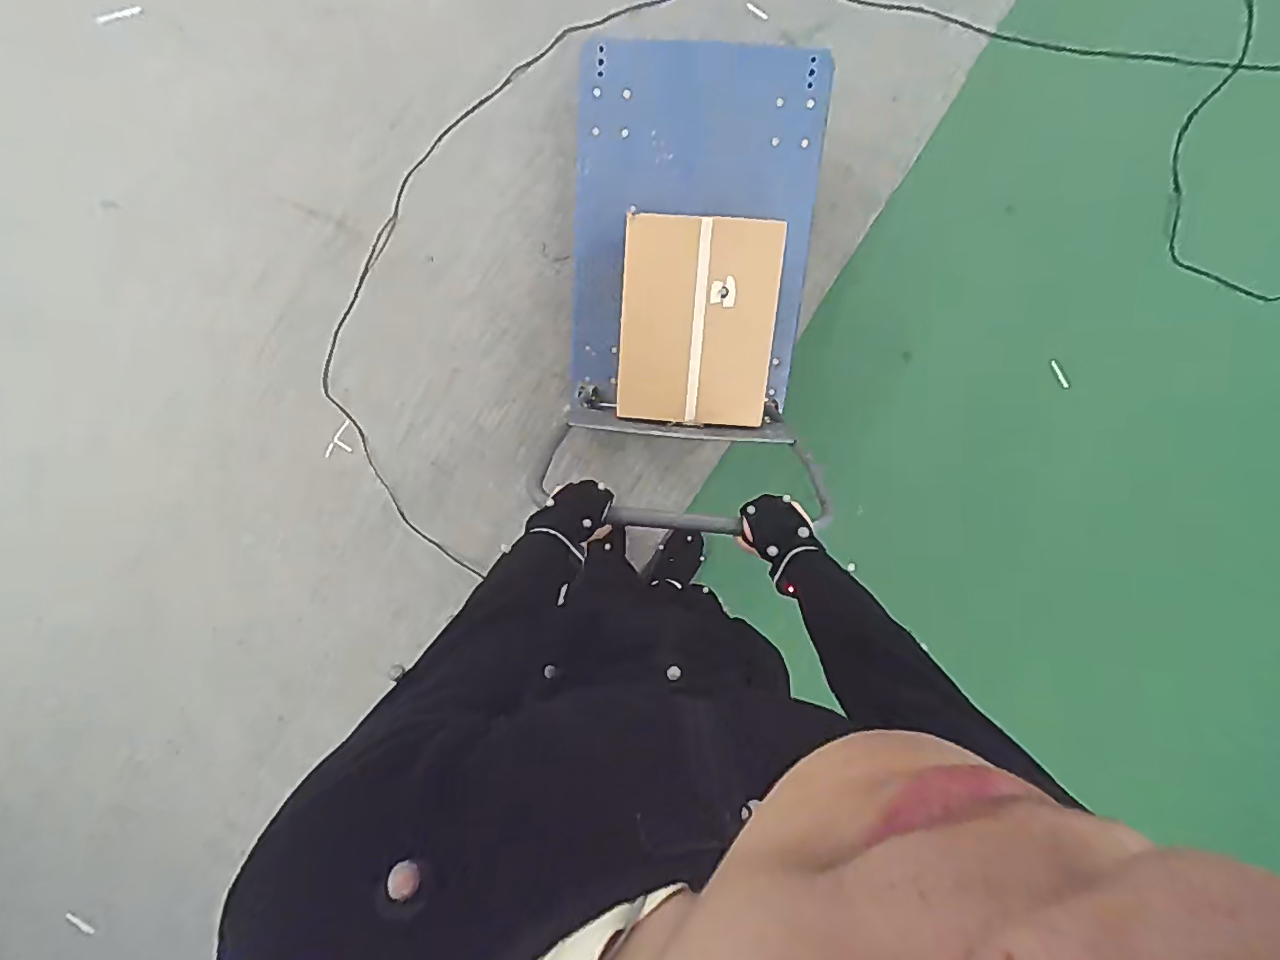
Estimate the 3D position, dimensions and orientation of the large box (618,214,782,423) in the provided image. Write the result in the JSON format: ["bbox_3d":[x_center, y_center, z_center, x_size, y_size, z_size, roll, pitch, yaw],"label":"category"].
[{"bbox_3d":[0.124,-0.357,1.245,0.320,0.320,0.408,4,105,1],"label":"large box"}]
